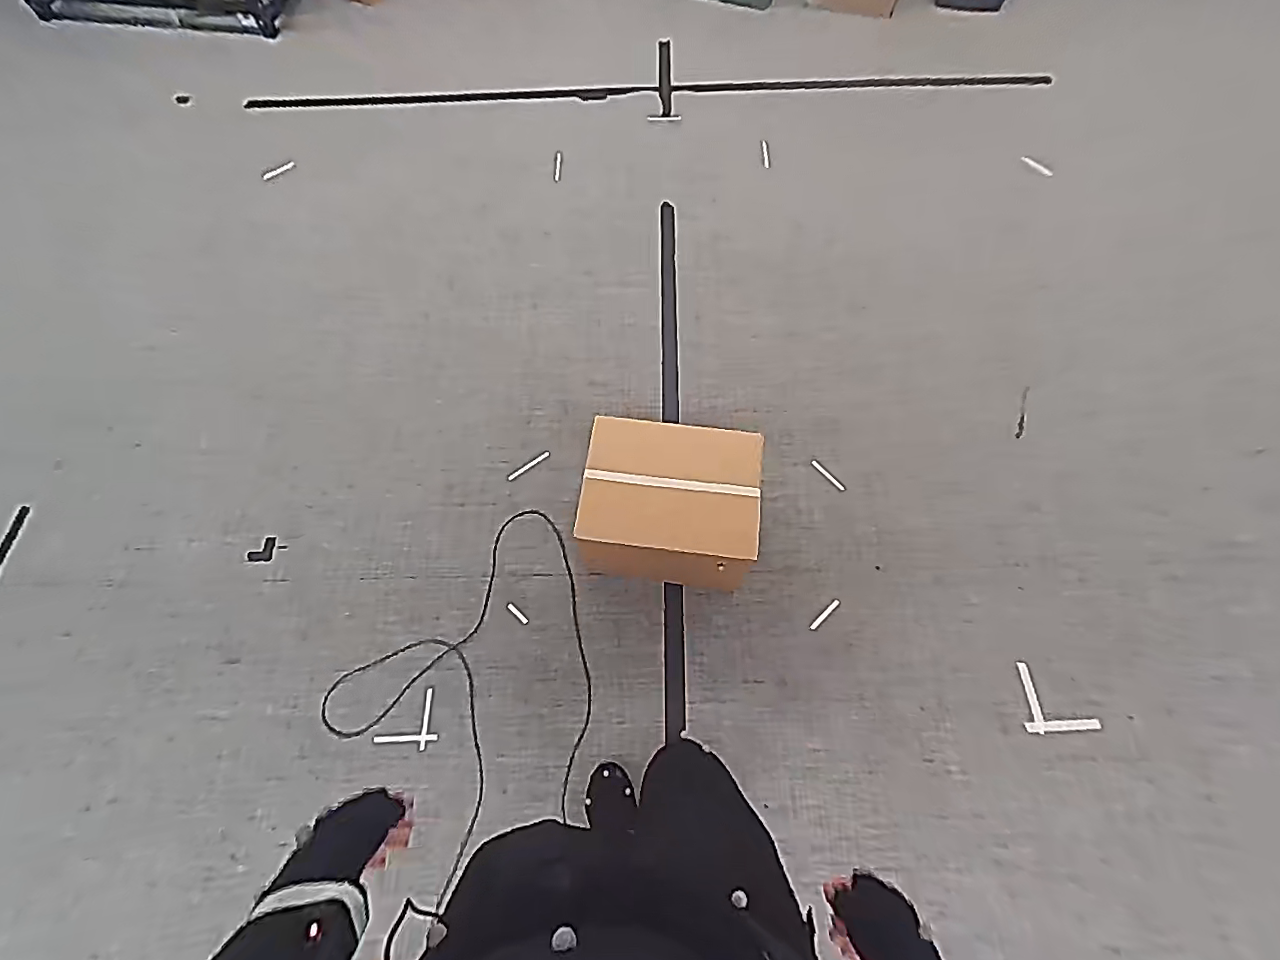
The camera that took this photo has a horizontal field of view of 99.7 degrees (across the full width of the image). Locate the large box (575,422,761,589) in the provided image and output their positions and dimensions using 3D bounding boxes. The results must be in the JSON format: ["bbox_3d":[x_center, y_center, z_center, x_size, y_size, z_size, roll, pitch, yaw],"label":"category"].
[{"bbox_3d":[0.074,0.077,1.361,0.408,0.320,0.320,7,66,3],"label":"large box"}]
